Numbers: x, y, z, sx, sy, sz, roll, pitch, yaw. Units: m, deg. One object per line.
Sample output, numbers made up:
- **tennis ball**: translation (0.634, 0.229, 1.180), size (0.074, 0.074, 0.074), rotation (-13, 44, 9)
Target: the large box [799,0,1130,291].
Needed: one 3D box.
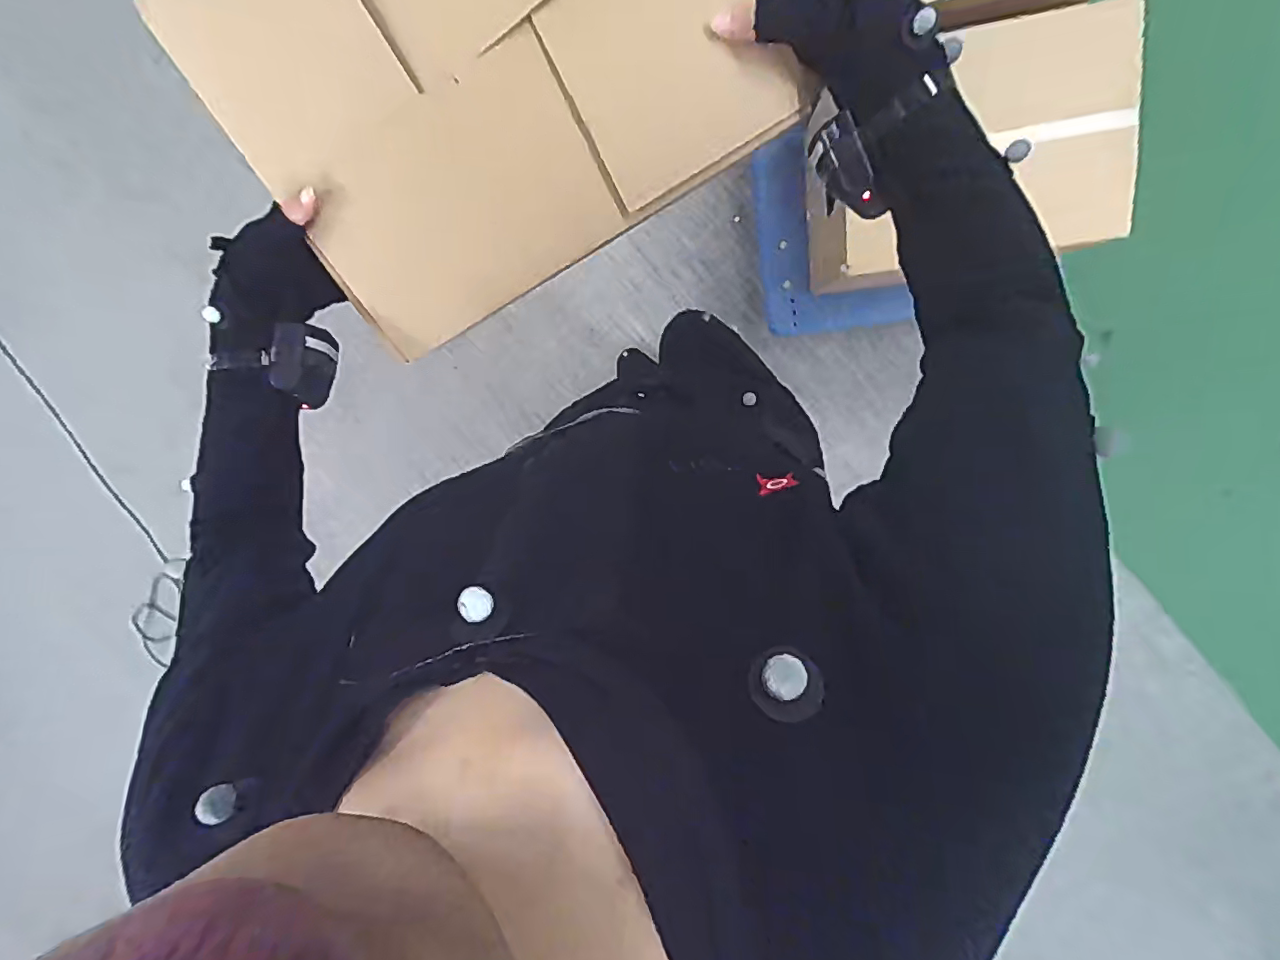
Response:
- **large box**: translation (0.509, -0.526, 0.937), size (0.408, 0.320, 0.320), rotation (-5, 103, 10)
